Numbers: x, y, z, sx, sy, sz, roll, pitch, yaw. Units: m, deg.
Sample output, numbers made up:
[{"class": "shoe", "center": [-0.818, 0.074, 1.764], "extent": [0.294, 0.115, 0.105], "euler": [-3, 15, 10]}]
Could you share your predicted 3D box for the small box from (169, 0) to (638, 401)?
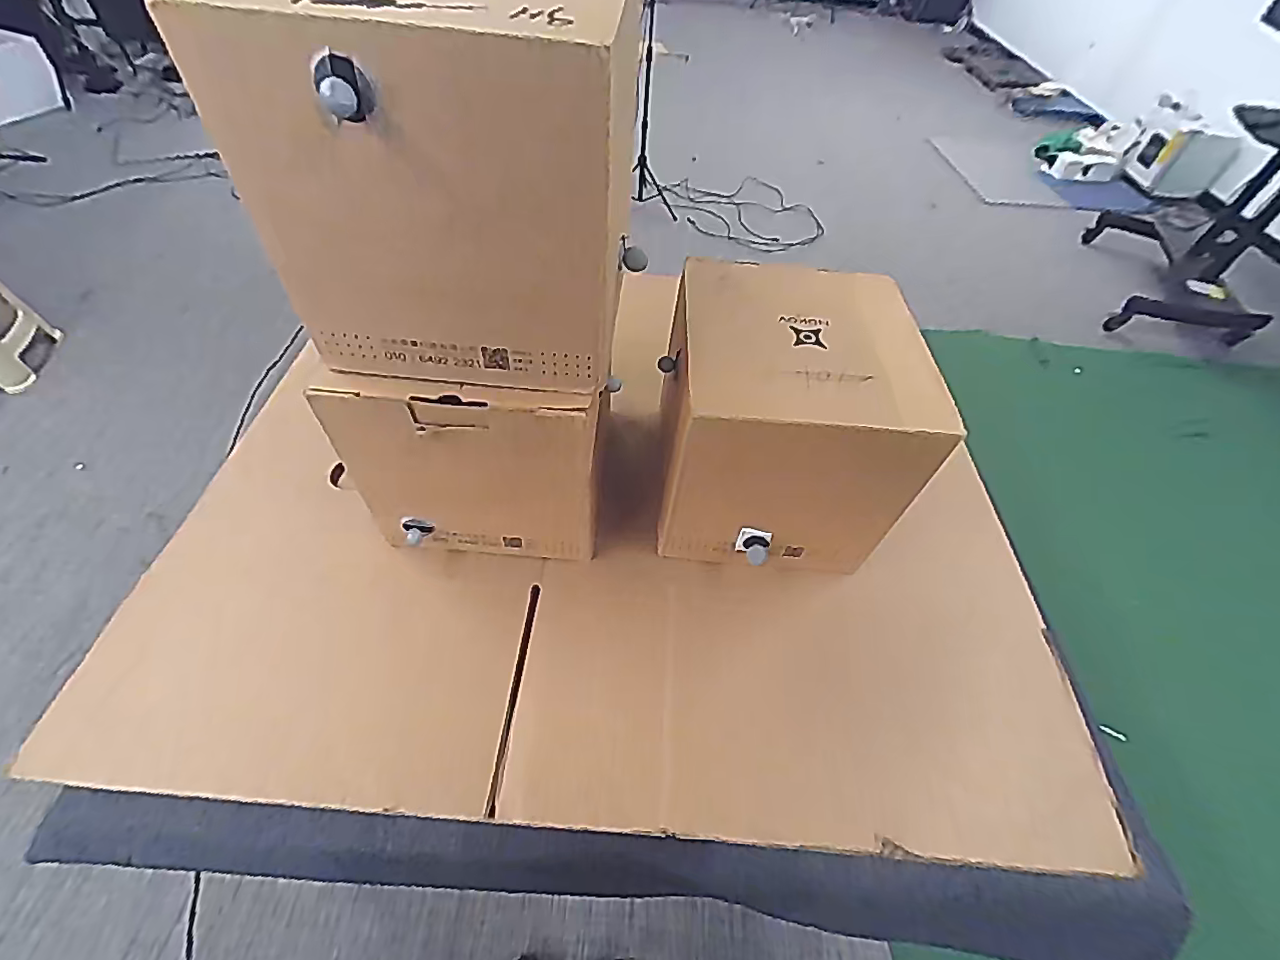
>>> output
[{"class": "small box", "center": [-0.095, -0.172, 0.314], "extent": [0.168, 0.176, 0.179], "euler": [6, 51, 0]}]
